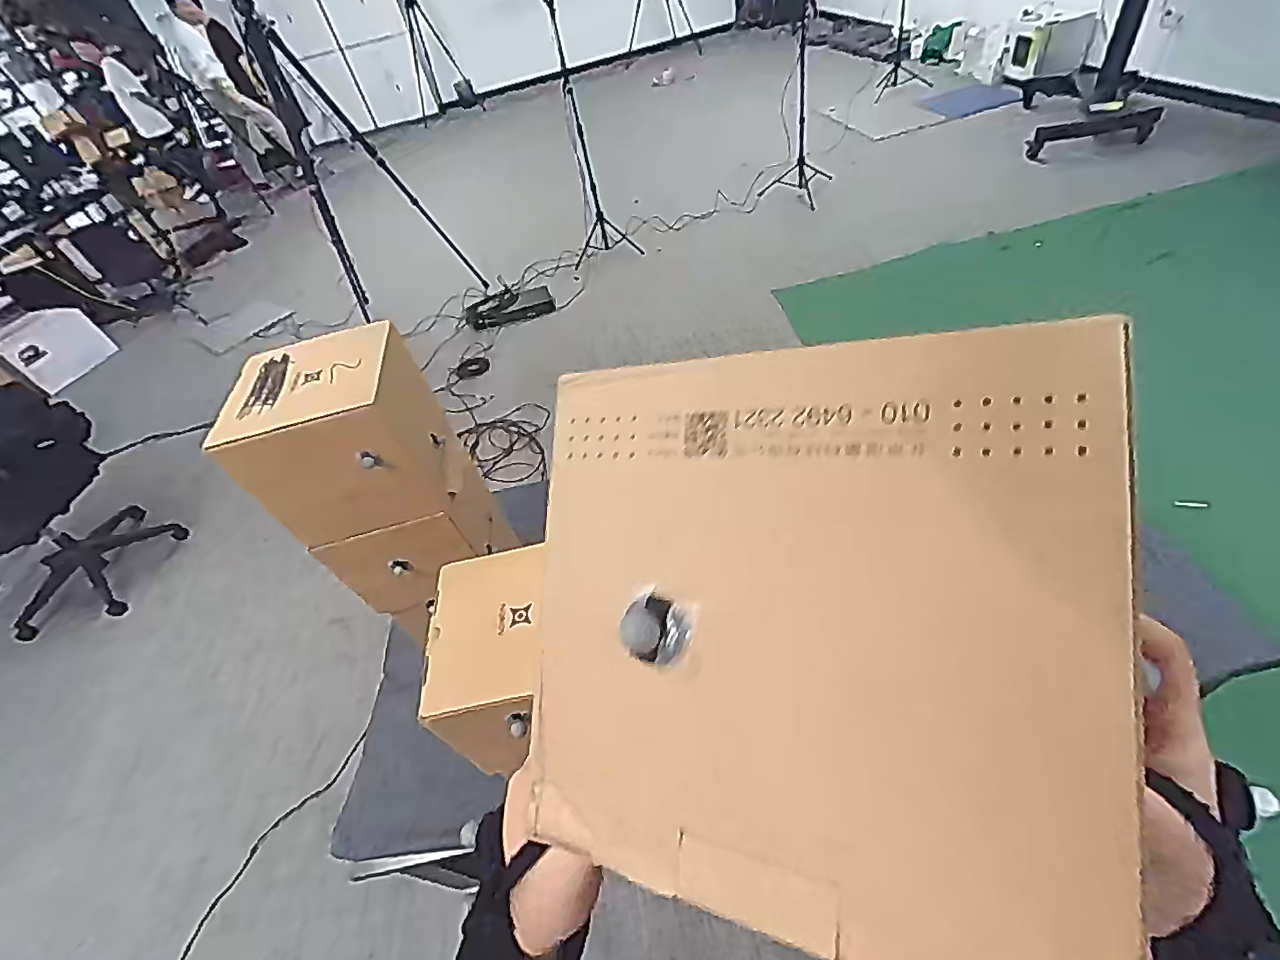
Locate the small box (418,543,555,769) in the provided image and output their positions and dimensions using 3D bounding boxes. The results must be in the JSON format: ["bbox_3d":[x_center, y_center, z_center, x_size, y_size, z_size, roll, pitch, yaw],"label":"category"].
[{"bbox_3d":[-0.106,0.189,0.582,0.179,0.176,0.168,-13,46,3],"label":"small box"}]

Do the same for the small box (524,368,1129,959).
[{"bbox_3d":[0.073,0.053,0.229,0.168,0.179,0.176,1,86,29],"label":"small box"}]

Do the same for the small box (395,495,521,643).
[{"bbox_3d":[-0.289,0.157,0.889,0.168,0.176,0.179,-16,46,-1],"label":"small box"}]

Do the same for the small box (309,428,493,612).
[{"bbox_3d":[-0.315,0.059,0.759,0.179,0.176,0.168,-16,47,0],"label":"small box"}]
